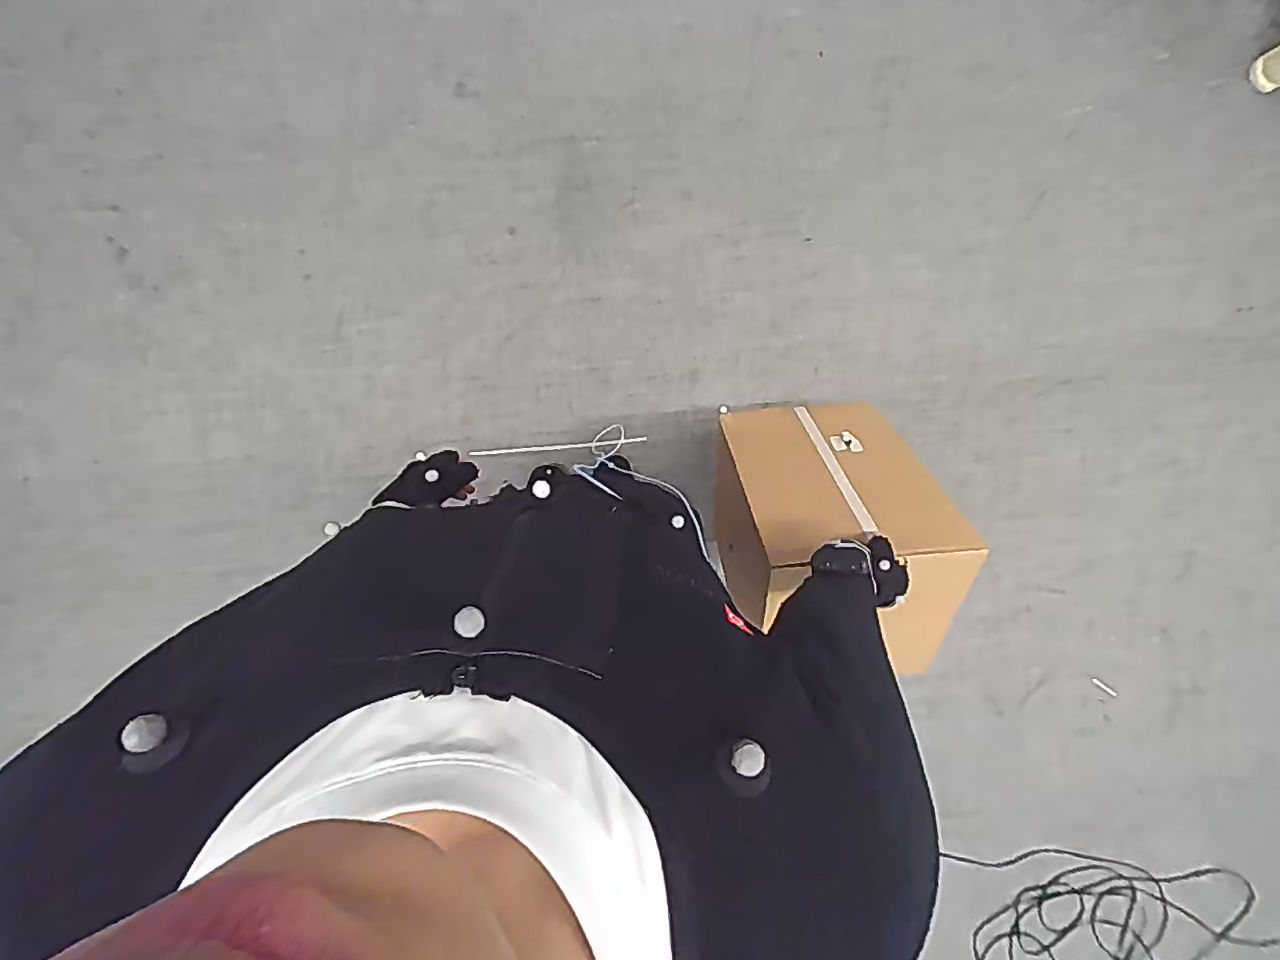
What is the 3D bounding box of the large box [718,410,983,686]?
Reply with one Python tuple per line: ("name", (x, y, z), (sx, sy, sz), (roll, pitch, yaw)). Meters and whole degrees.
("large box", (0.335, 0.112, 1.011), (0.320, 0.408, 0.320), (-4, 128, -1))
